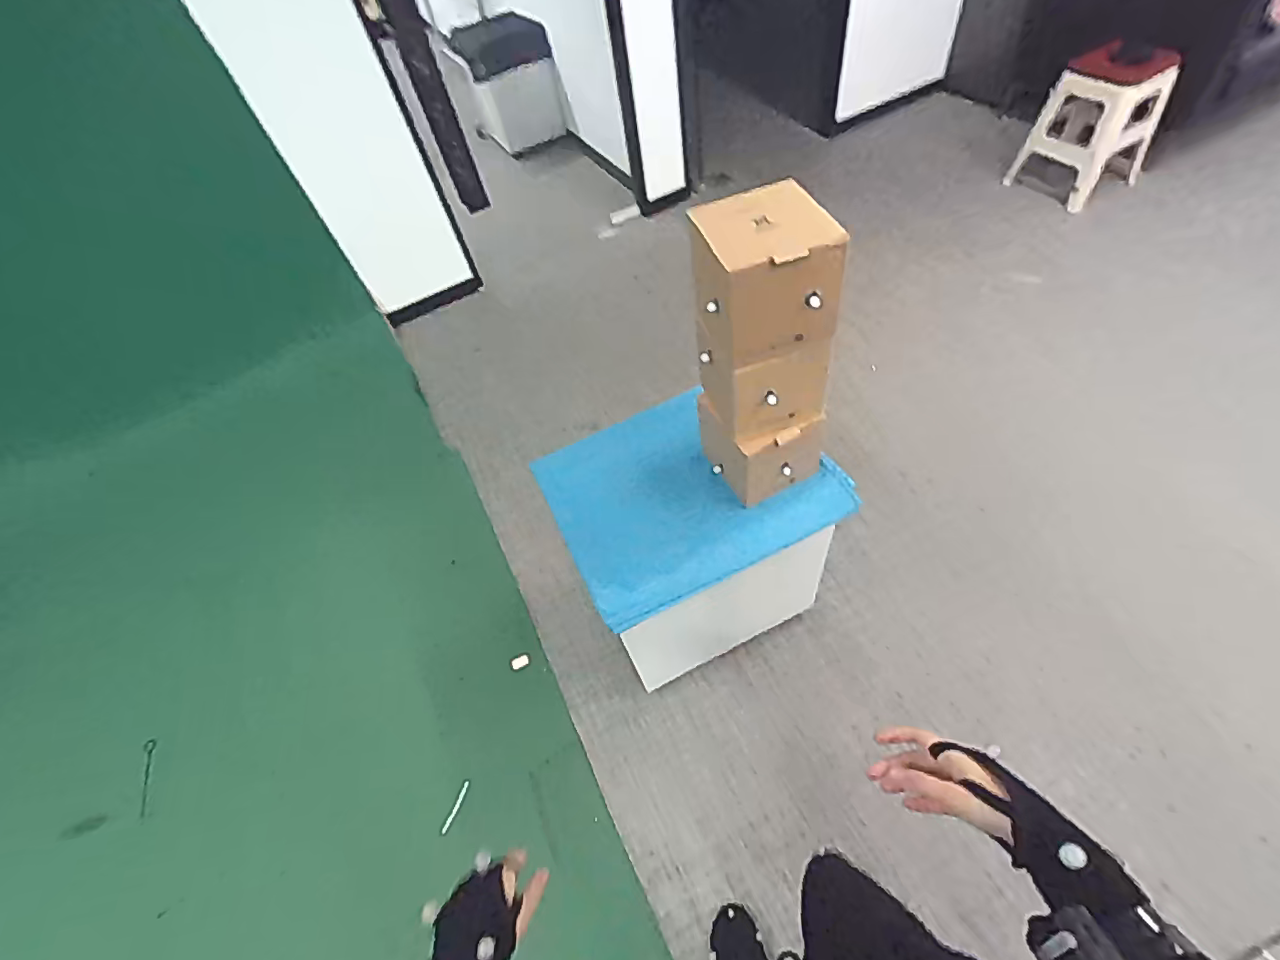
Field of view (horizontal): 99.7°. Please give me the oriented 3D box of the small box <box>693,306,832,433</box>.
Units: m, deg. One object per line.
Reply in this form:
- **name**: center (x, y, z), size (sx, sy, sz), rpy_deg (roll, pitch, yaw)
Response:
- **small box**: center (0.200, -0.200, 0.909), size (0.168, 0.176, 0.179), rpy_deg (-19, 52, -3)

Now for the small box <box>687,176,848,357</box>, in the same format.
- **small box**: center (0.176, -0.298, 0.781), size (0.168, 0.176, 0.179), rpy_deg (-17, 51, -2)

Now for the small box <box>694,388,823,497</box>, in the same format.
- **small box**: center (0.220, -0.090, 1.028), size (0.168, 0.176, 0.179), rpy_deg (-26, 54, -9)
